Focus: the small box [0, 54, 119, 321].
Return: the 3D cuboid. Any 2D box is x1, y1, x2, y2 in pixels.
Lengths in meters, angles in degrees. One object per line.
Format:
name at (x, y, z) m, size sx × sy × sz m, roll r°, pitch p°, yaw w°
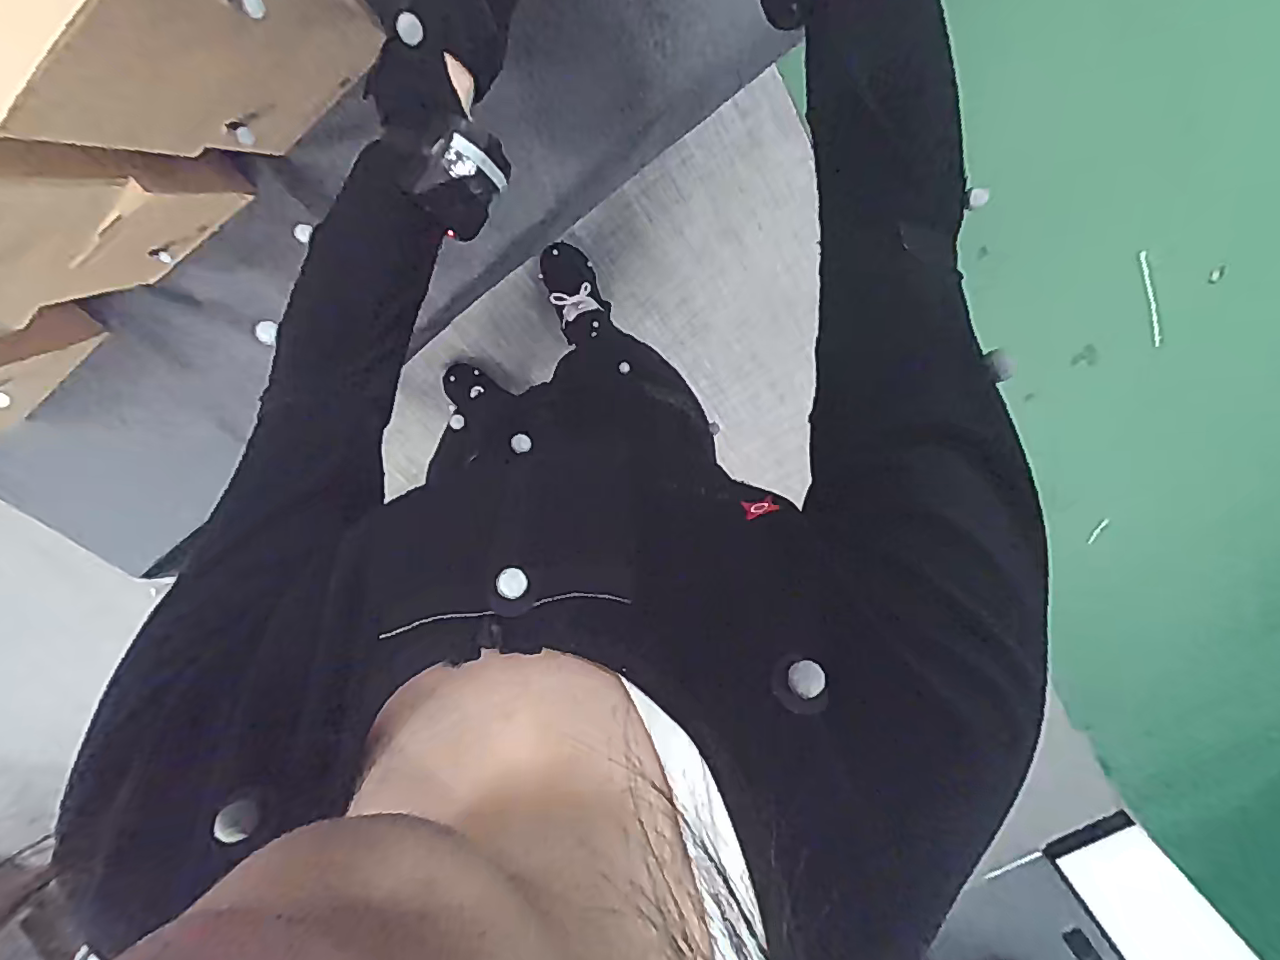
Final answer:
small box at (-0.494, -0.197, 0.331) m, size 0.179 × 0.176 × 0.168 m, roll -39°, pitch 117°, yaw 15°
